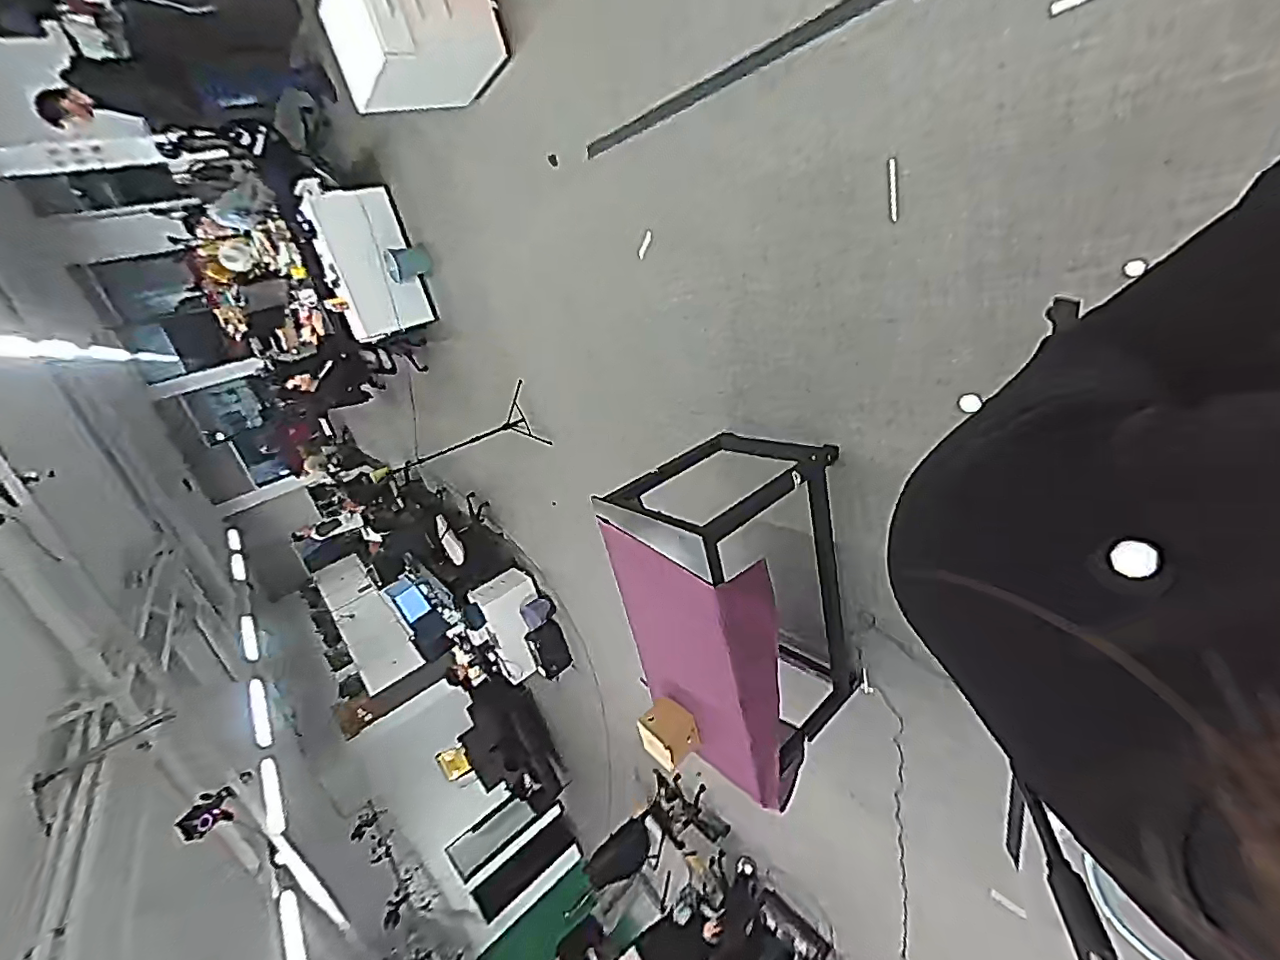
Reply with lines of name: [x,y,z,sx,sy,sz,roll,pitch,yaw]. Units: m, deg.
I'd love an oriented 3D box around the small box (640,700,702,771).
small box: [0.128,1.040,2.221,0.179,0.176,0.168,17,129,49]
